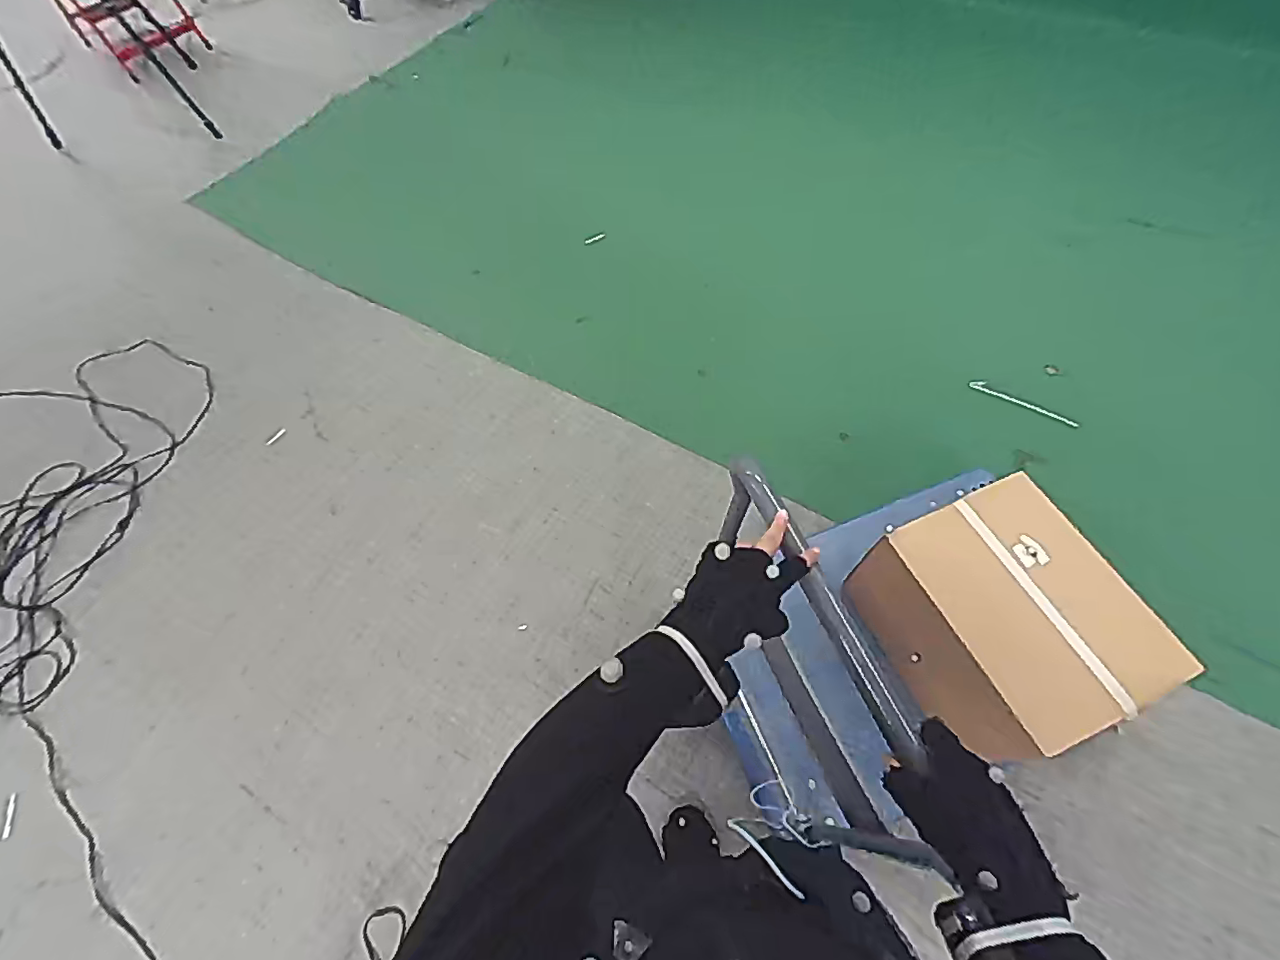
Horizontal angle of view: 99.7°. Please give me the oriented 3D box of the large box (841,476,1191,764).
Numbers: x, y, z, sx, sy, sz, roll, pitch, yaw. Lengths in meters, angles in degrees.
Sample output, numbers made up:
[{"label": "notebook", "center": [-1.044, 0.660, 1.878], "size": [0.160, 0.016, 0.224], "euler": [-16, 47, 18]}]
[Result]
[{"label": "large box", "center": [0.663, 0.276, 1.049], "size": [0.320, 0.320, 0.408], "euler": [-22, 61, -8]}]
